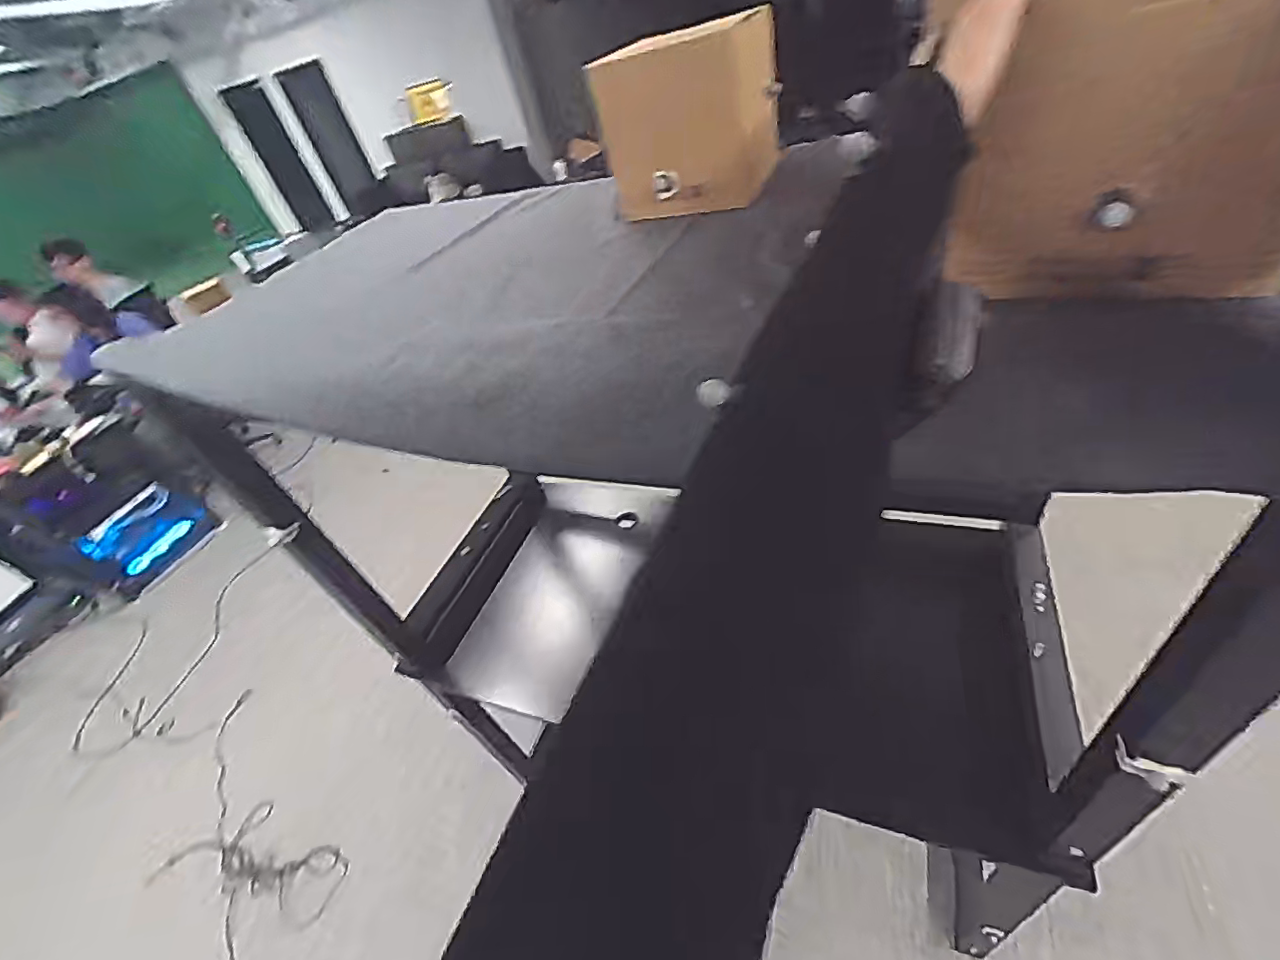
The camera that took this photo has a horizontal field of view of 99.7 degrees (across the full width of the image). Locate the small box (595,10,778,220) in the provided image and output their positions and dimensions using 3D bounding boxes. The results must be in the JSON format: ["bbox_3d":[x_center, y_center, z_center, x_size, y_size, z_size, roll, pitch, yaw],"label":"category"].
[{"bbox_3d":[0.070,-0.436,0.658,0.168,0.176,0.179,5,45,24],"label":"small box"}]

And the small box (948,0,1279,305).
[{"bbox_3d":[0.305,-0.229,0.342,0.168,0.176,0.179,10,48,29],"label":"small box"}]
